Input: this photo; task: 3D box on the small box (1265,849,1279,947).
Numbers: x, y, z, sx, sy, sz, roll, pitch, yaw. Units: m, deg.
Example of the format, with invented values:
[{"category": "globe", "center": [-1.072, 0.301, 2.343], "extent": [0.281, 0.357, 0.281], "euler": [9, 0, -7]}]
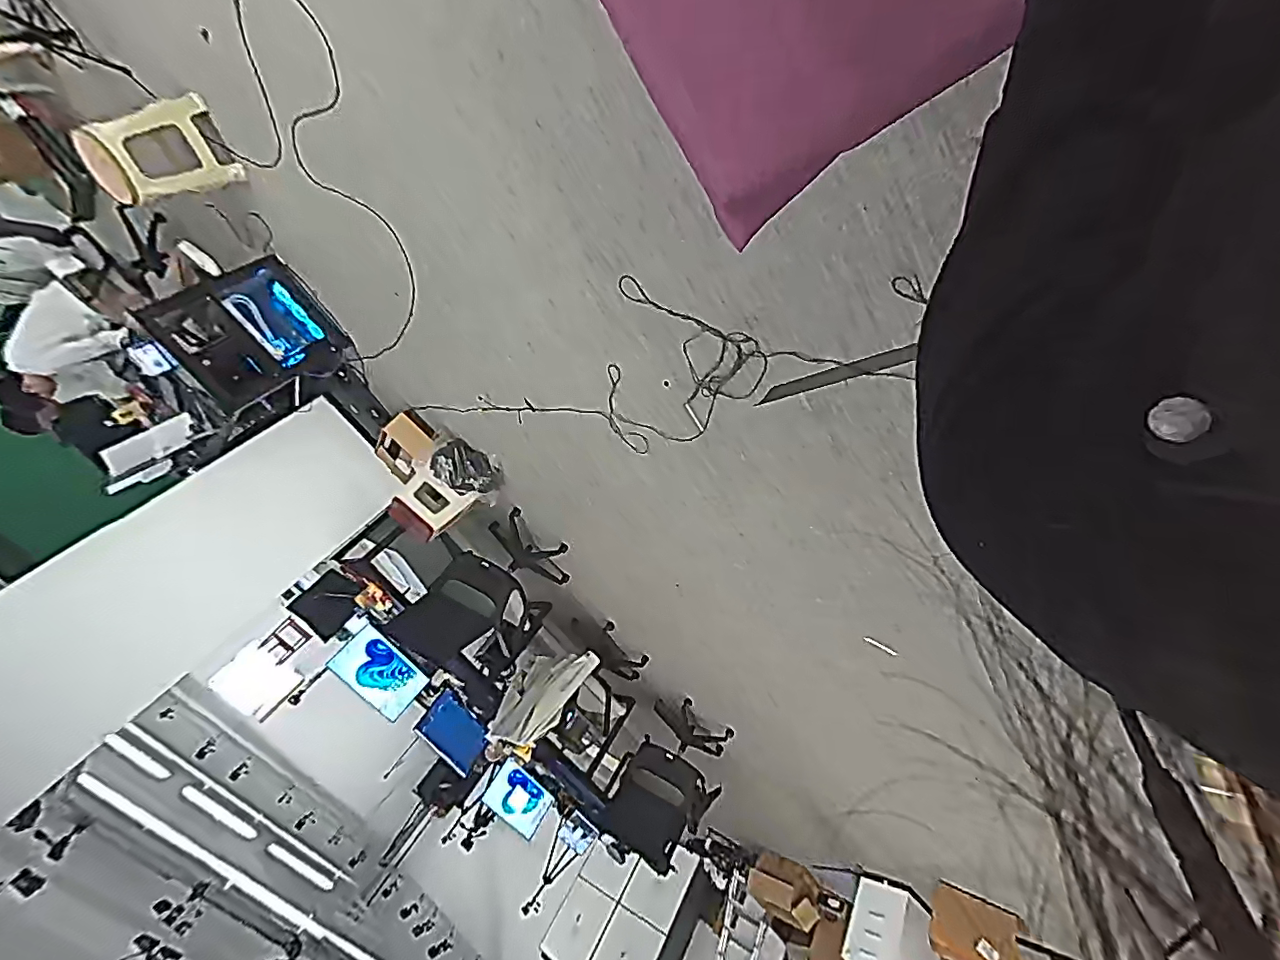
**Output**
[{"category": "small box", "center": [1.587, 0.994, 1.248], "extent": [0.179, 0.176, 0.168], "euler": [-9, 125, 45]}]
